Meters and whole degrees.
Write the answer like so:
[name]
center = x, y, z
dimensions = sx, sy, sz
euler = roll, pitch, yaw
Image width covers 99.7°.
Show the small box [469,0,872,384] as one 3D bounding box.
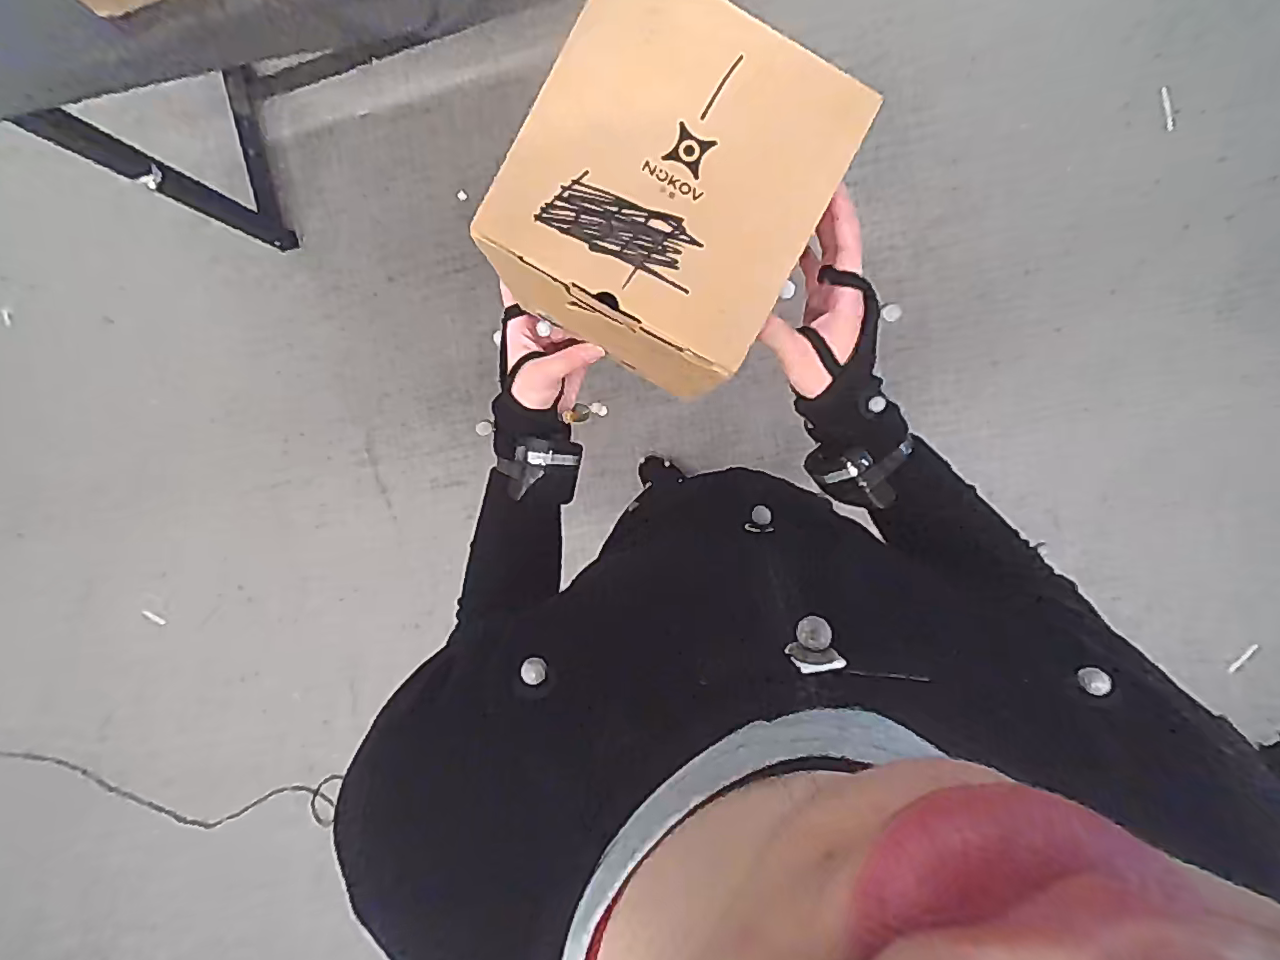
[small box]
center = 0.014, -0.183, 0.373
dimensions = 0.168, 0.176, 0.179
euler = 28, 92, -5
